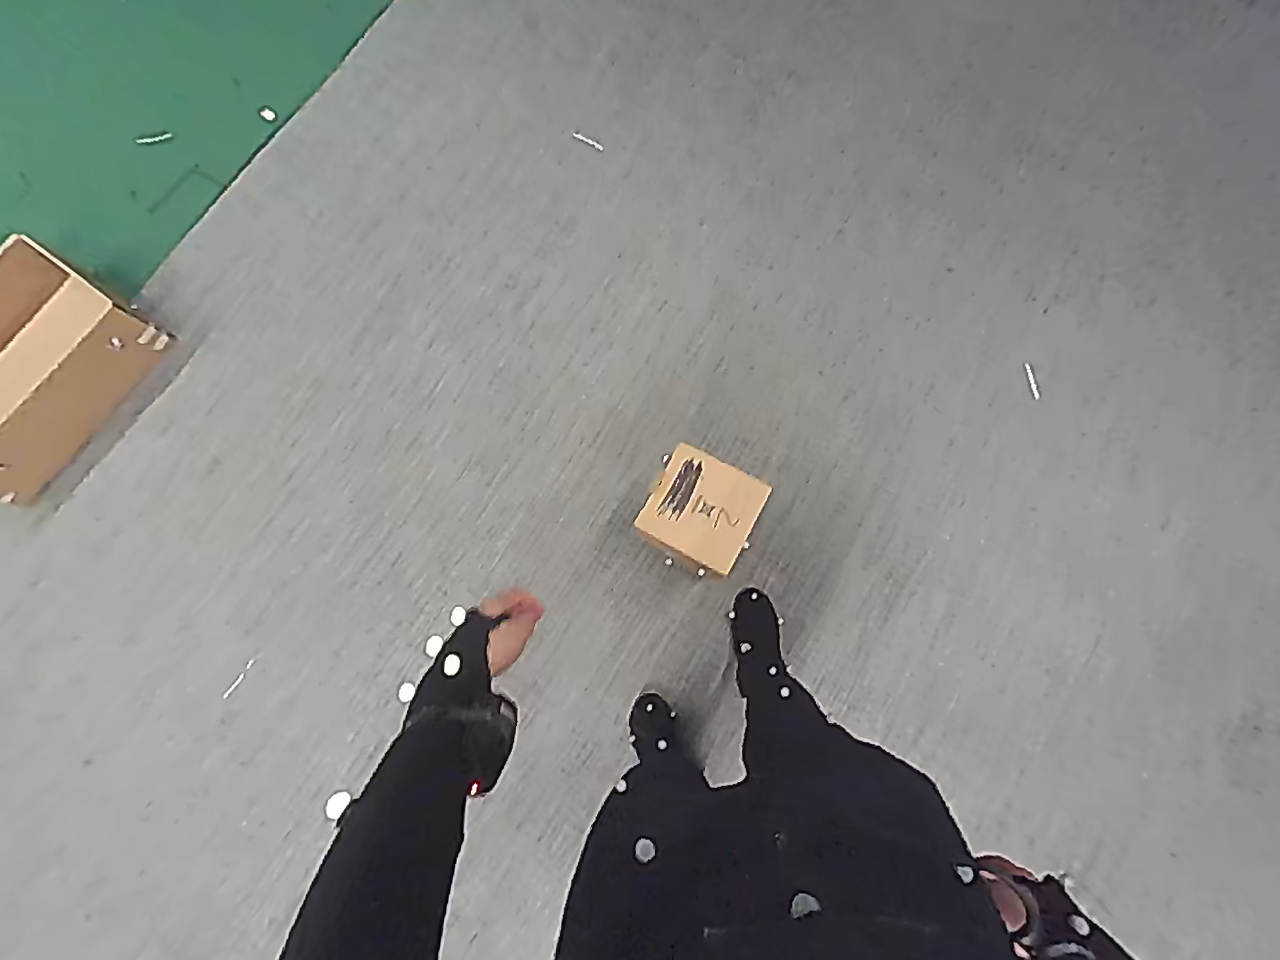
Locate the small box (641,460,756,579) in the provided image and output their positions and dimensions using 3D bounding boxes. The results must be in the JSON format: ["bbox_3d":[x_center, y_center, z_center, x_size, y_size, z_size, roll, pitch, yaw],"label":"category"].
[{"bbox_3d":[0.117,0.089,1.128,0.168,0.176,0.179,32,82,11],"label":"small box"}]
